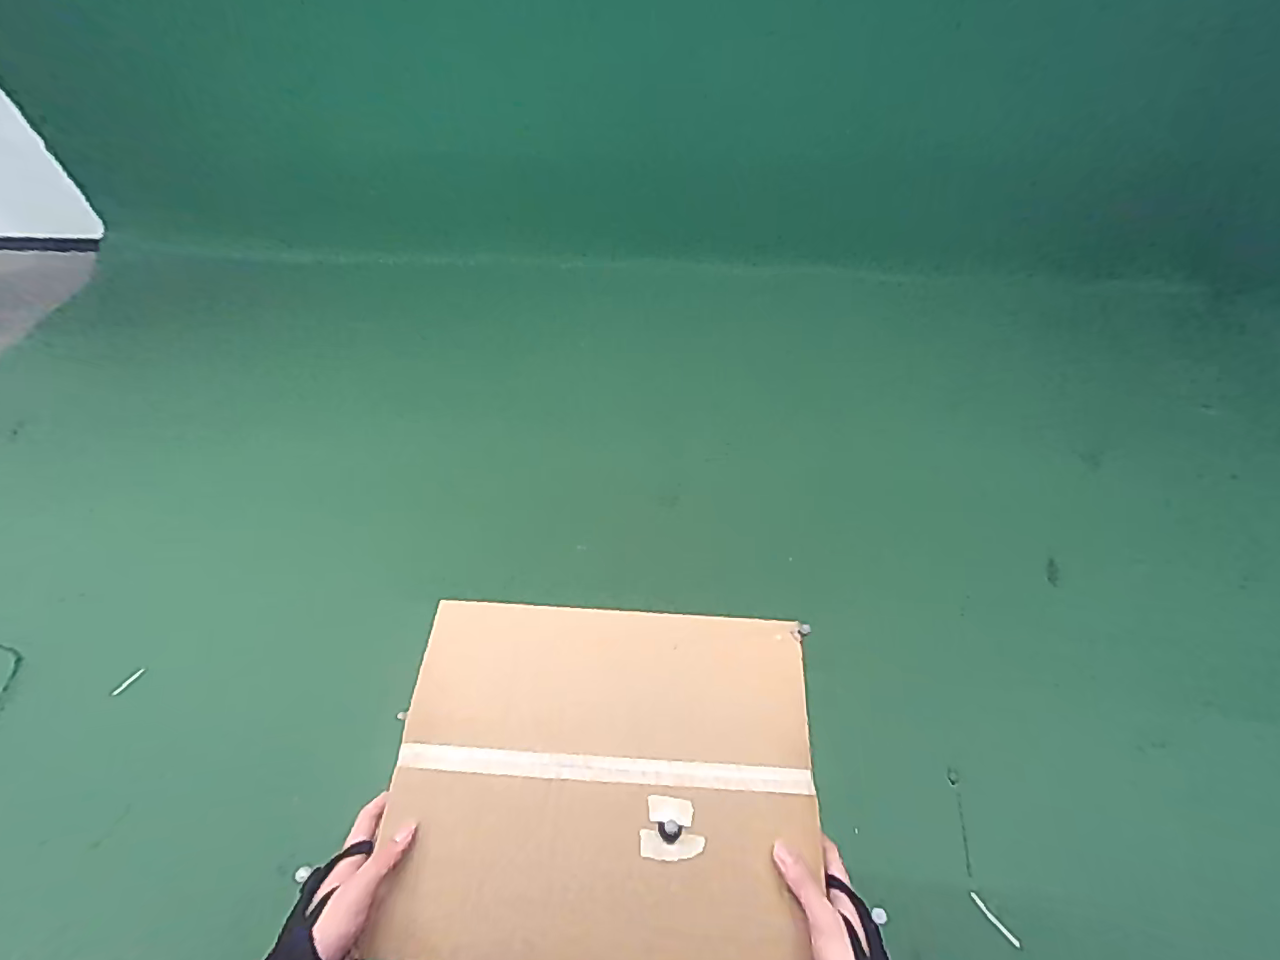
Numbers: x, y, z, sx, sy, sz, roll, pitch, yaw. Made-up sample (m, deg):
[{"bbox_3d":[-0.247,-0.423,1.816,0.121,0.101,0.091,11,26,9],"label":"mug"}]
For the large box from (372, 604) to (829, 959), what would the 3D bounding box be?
[{"bbox_3d":[-0.032,0.358,0.665,0.408,0.320,0.320,3,60,1],"label":"large box"}]
